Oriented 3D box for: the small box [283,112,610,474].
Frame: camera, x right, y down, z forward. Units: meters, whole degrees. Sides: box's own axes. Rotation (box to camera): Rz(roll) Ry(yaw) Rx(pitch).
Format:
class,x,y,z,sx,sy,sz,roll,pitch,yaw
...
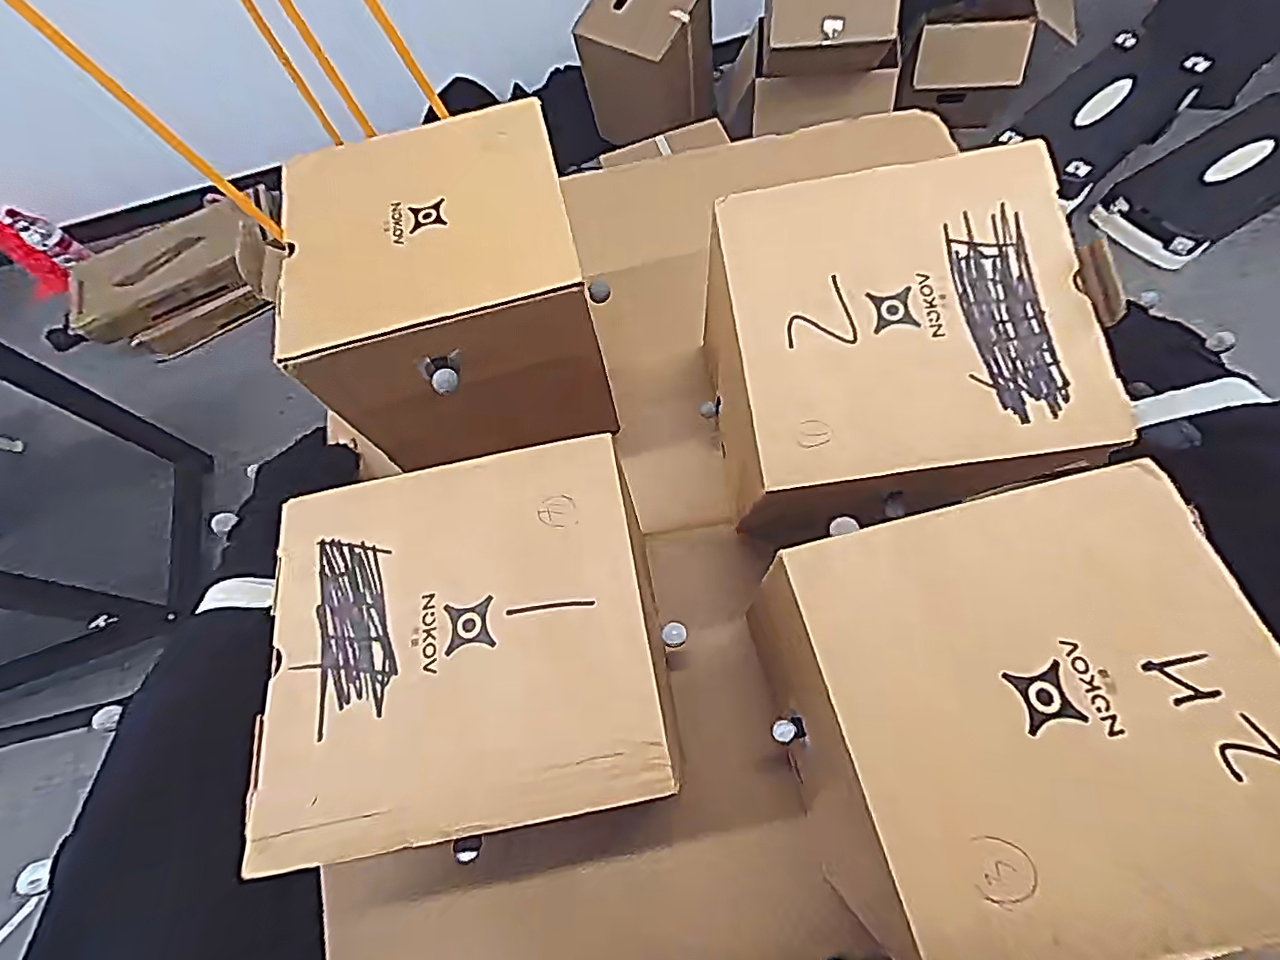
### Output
class,x,y,z,sx,sy,sz,roll,pitch,yaw
small box,-0.125,-0.124,0.406,0.179,0.176,0.168,-15,66,1
